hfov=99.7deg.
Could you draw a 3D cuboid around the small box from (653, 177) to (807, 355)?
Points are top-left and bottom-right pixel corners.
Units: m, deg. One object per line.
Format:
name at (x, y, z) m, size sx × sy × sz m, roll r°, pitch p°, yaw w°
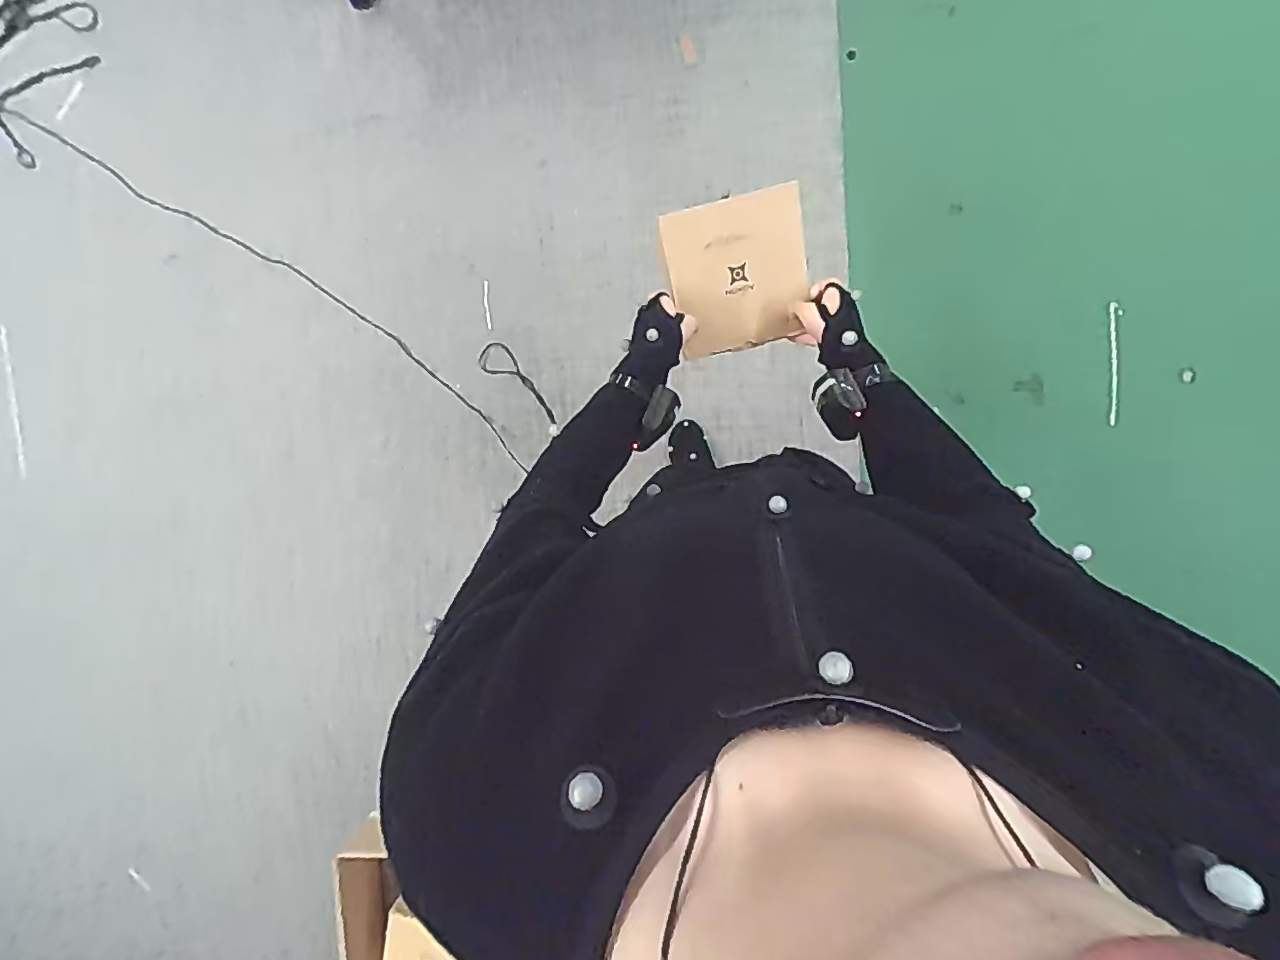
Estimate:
small box at (0.113, -0.285, 0.715) m, size 0.168 × 0.176 × 0.179 m, roll -11°, pitch 116°, yaw 5°
